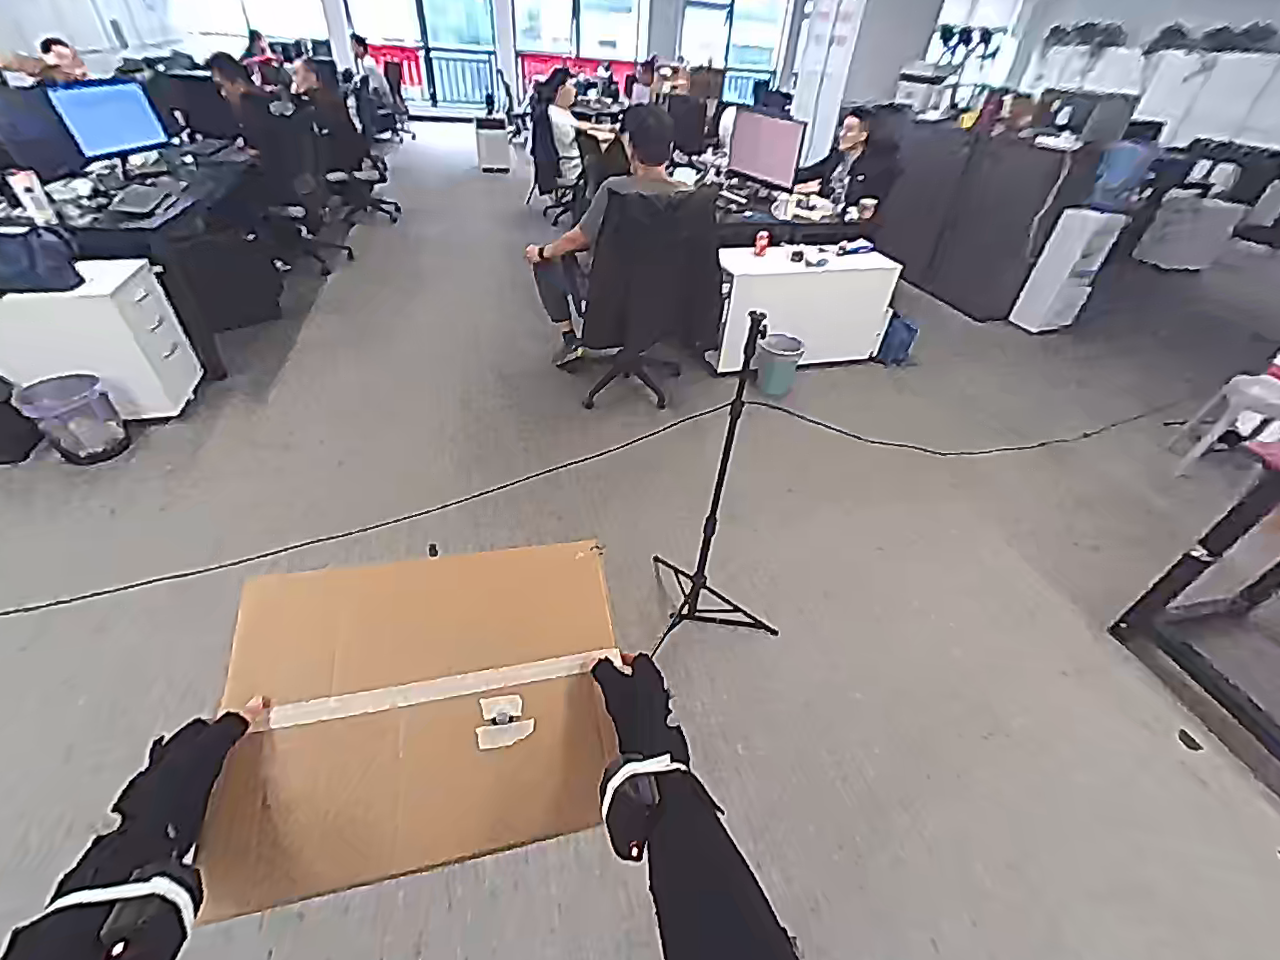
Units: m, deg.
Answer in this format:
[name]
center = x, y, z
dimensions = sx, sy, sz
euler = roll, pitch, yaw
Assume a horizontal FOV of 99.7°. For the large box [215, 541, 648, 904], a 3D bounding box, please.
[large box]
center = -0.240, 0.308, 0.716
dimensions = 0.408, 0.320, 0.320
euler = -4, 57, -15
